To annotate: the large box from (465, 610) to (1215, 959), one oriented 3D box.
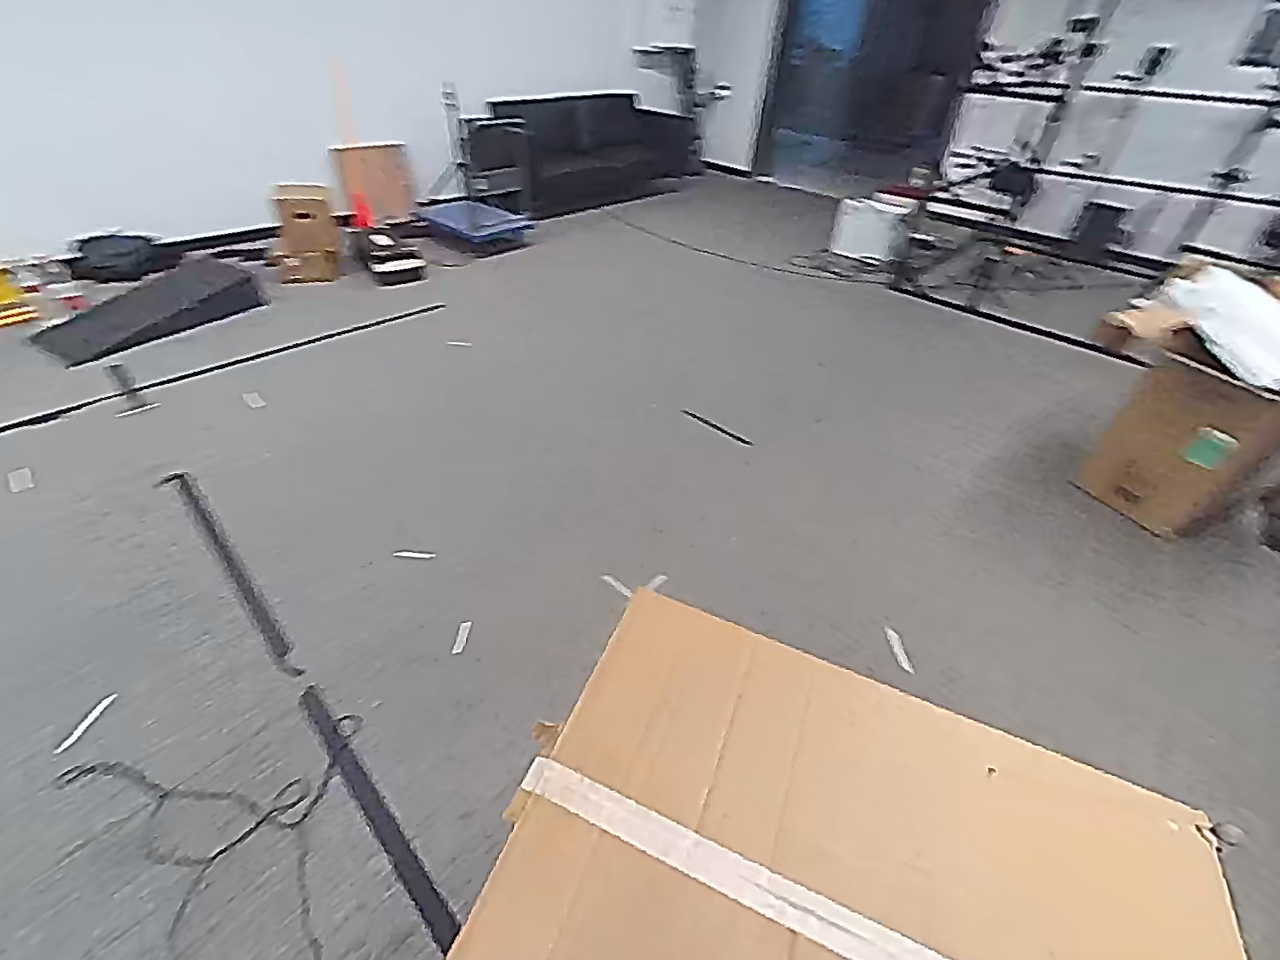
[{"bbox_3d":[0.108,0.365,0.414,0.408,0.320,0.320,18,49,12],"label":"large box"}]
